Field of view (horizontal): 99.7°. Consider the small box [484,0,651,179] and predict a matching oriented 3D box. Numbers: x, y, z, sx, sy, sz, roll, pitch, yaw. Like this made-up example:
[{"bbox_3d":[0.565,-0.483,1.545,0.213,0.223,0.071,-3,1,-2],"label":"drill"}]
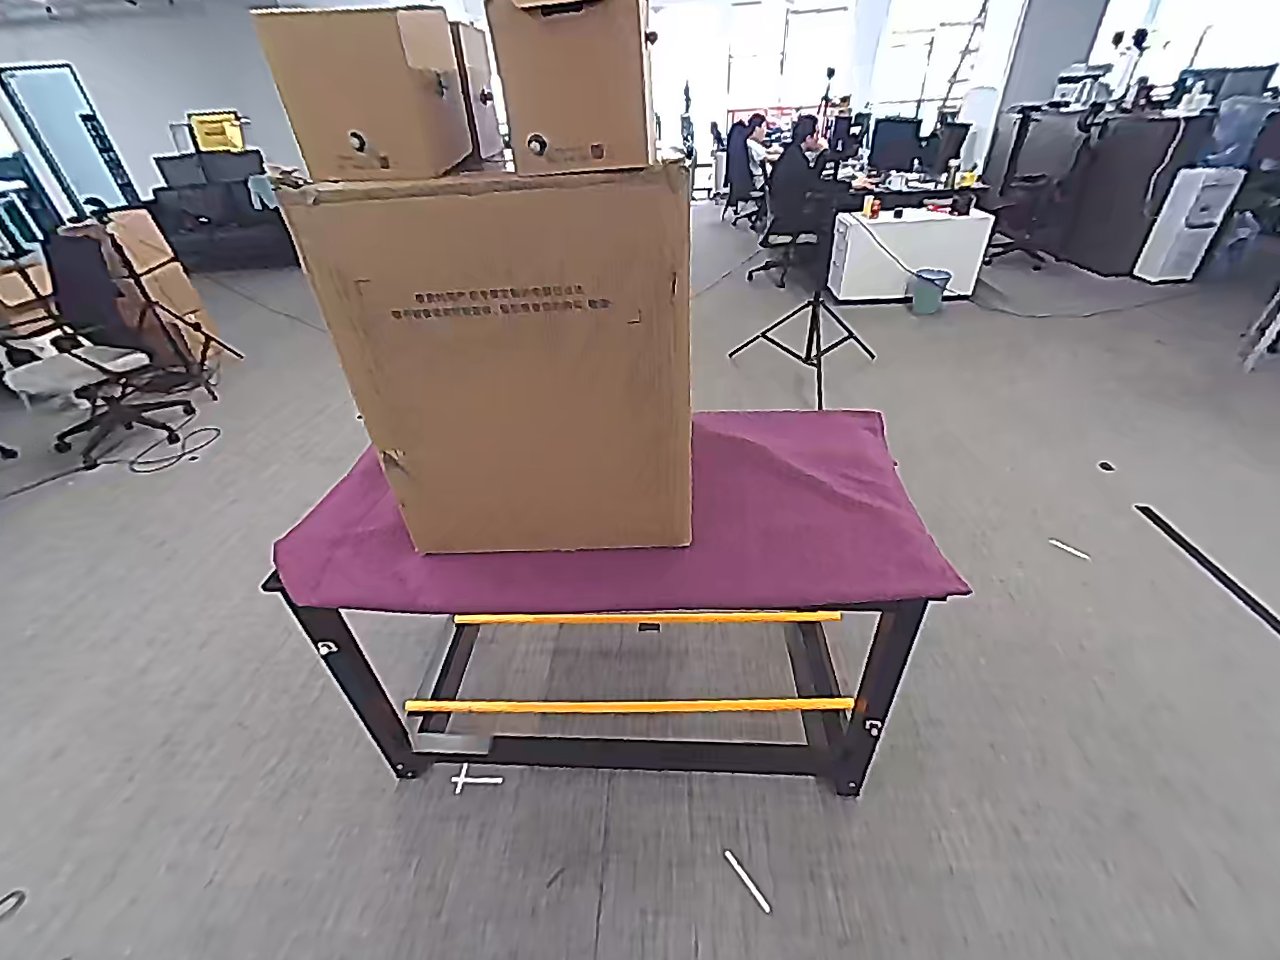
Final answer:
[{"bbox_3d":[-0.073,-0.479,0.670,0.168,0.176,0.179,-2,37,4],"label":"small box"}]
